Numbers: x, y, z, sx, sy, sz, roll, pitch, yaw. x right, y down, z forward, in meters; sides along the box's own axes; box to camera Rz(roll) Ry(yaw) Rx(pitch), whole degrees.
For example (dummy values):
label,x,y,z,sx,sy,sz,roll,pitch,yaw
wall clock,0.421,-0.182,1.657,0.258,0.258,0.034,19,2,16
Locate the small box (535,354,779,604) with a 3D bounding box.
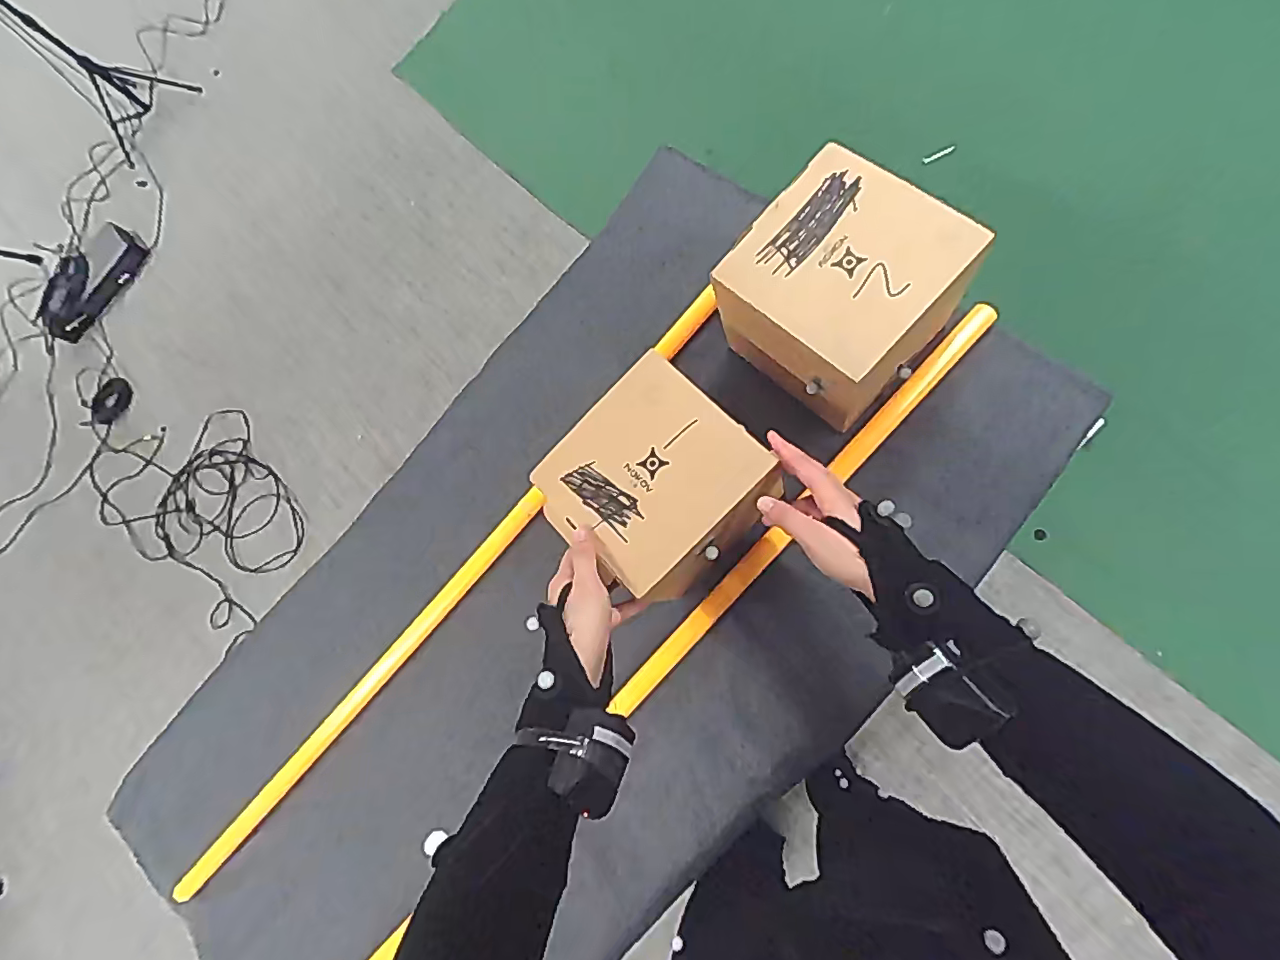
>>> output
label,x,y,z,sx,sy,sz,roll,pitch,yaw
small box,0.031,0.010,0.566,0.179,0.176,0.168,-46,71,3
